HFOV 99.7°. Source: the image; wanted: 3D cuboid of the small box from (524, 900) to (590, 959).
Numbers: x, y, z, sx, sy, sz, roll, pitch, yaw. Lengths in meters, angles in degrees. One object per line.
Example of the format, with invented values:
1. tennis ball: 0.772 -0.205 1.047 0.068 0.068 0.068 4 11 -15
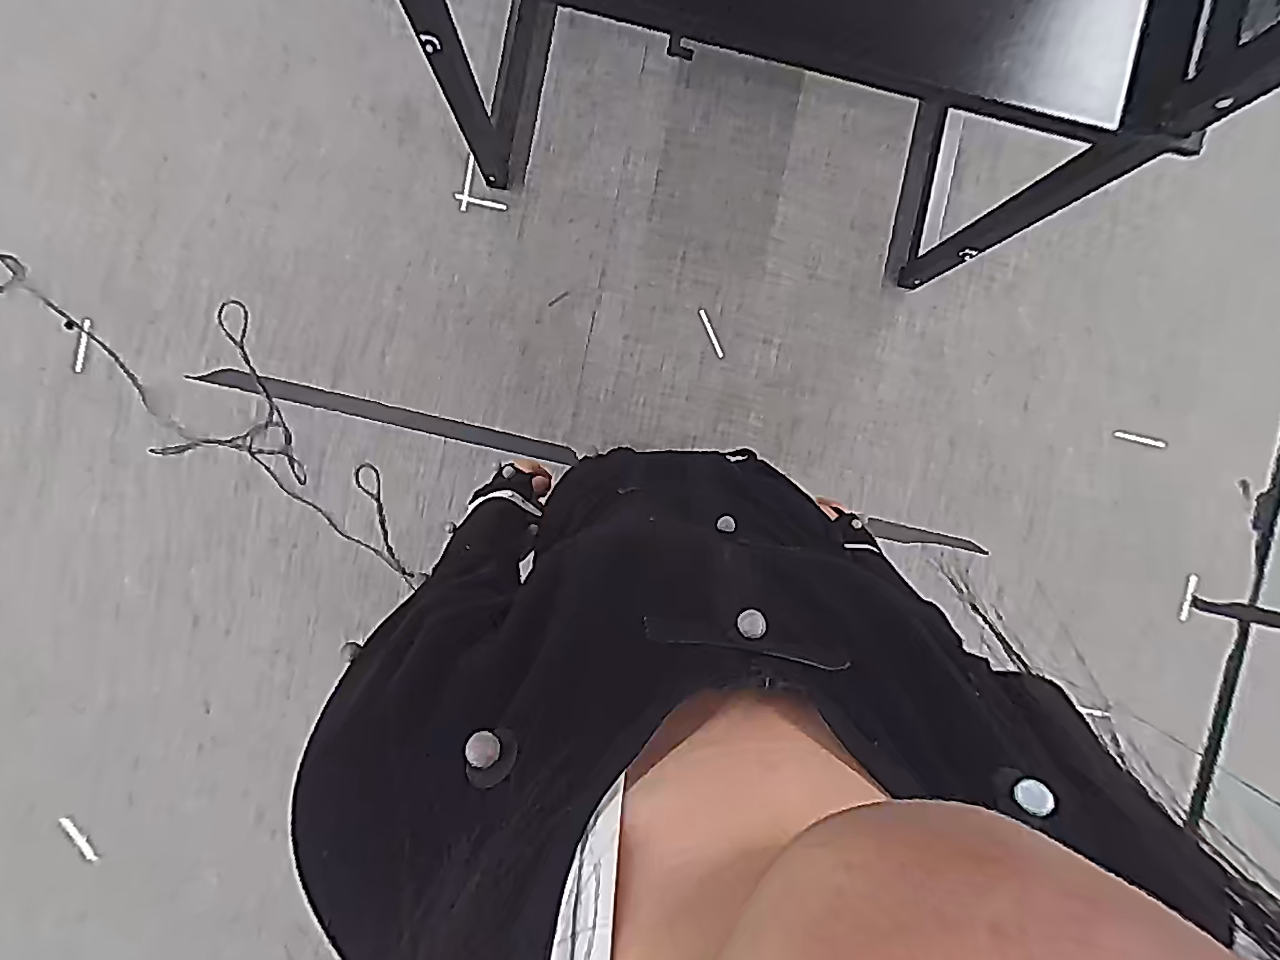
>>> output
1. small box: -0.222 1.267 1.444 0.168 0.176 0.179 3 93 -4
